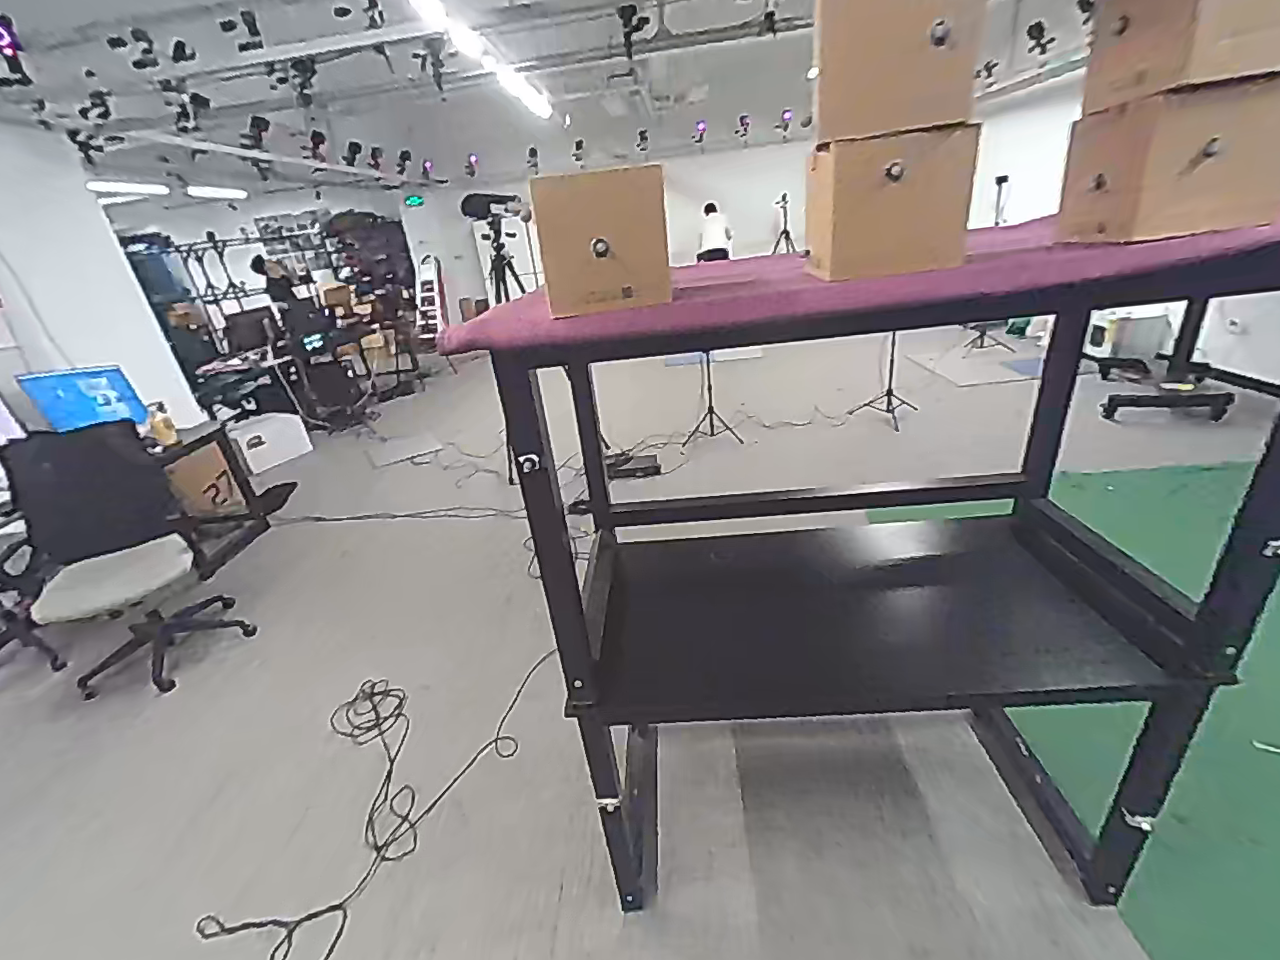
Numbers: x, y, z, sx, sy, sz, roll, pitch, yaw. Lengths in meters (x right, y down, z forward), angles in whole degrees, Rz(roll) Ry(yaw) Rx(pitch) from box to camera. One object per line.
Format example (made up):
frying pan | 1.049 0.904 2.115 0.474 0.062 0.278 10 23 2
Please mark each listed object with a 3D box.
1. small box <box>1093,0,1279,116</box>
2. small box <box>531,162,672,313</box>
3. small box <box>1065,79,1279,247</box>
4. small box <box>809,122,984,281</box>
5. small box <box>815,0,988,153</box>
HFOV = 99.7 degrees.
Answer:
small box | 0.697 -0.559 0.655 0.179 0.176 0.168 -5 23 6
small box | -0.054 -0.334 0.757 0.168 0.176 0.179 -9 26 -6
small box | 0.718 -0.416 0.731 0.179 0.176 0.168 -6 23 6
small box | 0.341 -0.380 0.758 0.179 0.176 0.168 -3 26 6
small box | 0.319 -0.525 0.688 0.179 0.176 0.168 0 26 15
